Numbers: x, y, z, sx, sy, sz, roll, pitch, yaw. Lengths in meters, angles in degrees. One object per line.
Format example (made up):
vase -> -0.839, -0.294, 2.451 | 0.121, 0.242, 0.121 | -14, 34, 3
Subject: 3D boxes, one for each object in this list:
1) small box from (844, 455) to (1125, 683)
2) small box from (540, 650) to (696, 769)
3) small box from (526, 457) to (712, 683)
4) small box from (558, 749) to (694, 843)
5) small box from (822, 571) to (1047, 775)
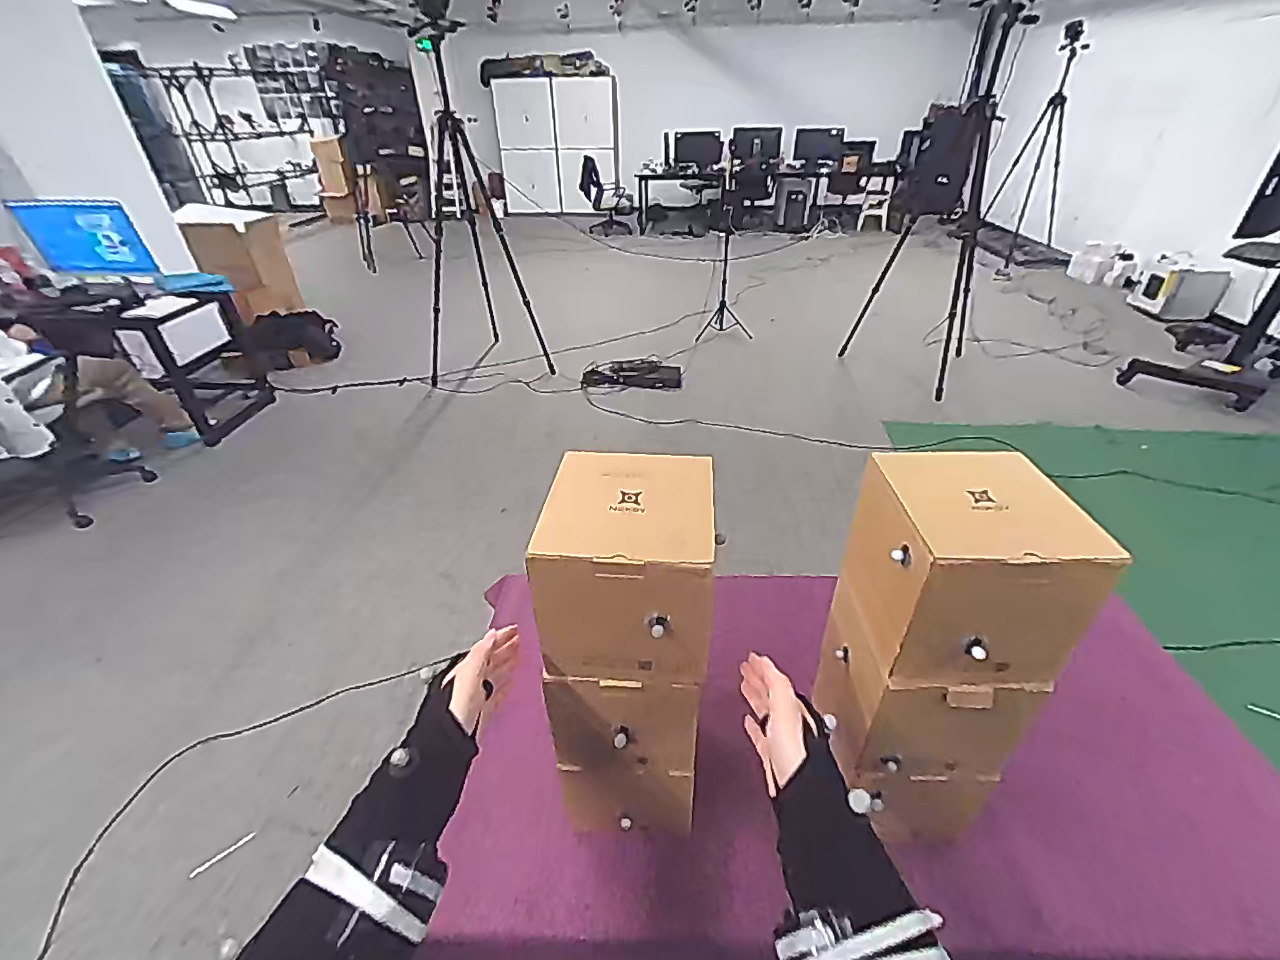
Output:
small box -> 0.331, 0.089, 0.570 | 0.168, 0.176, 0.179 | 0, 34, 1
small box -> -0.015, 0.230, 0.665 | 0.168, 0.176, 0.179 | 1, 34, 3
small box -> -0.009, 0.092, 0.576 | 0.168, 0.176, 0.179 | 3, 33, 5
small box -> -0.012, 0.368, 0.753 | 0.168, 0.176, 0.179 | 0, 34, 4
small box -> 0.332, 0.230, 0.653 | 0.168, 0.176, 0.179 | 0, 33, 3
